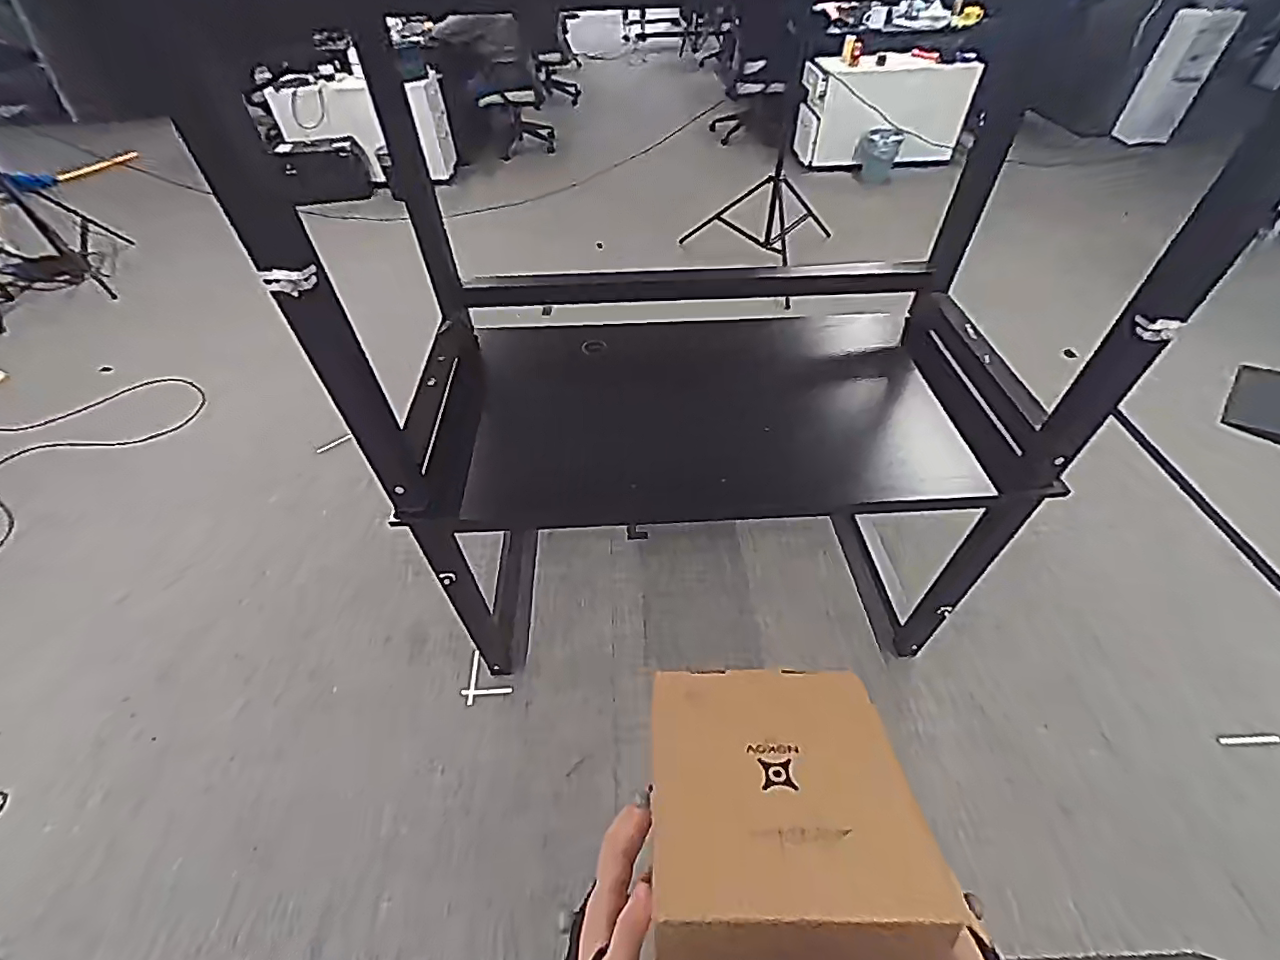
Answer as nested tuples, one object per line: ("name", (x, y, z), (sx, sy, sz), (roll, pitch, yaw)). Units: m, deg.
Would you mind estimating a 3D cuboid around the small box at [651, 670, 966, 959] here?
("small box", (0.091, 0.264, 0.392), (0.168, 0.176, 0.179), (0, 26, 1))
